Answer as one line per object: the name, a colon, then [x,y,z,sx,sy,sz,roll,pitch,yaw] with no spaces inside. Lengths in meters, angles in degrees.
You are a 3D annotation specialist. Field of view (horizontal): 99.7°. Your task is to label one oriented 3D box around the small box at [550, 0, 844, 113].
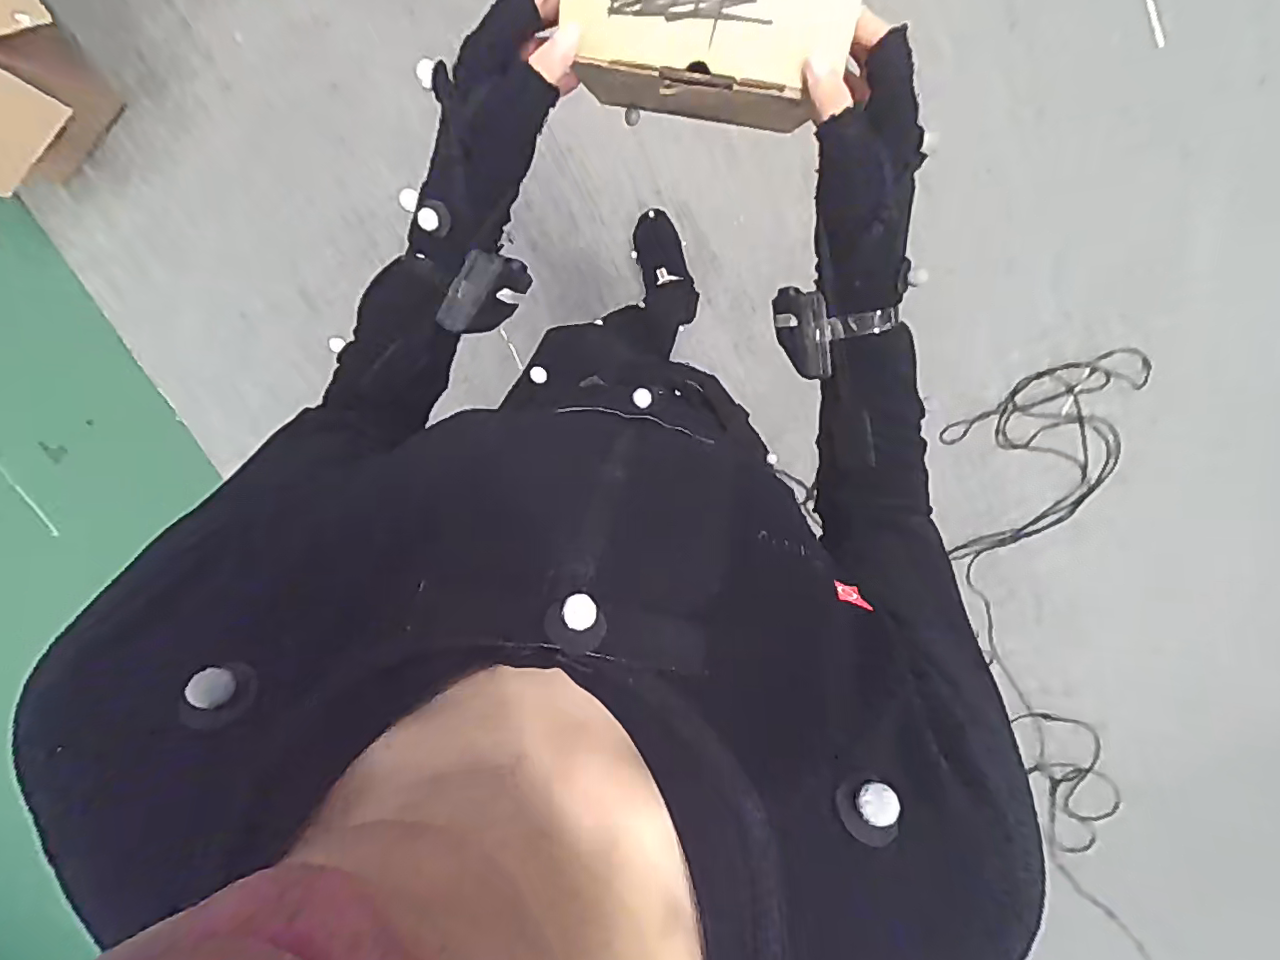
small box: [0.046,-0.355,0.343,0.168,0.176,0.179,9,117,0]
